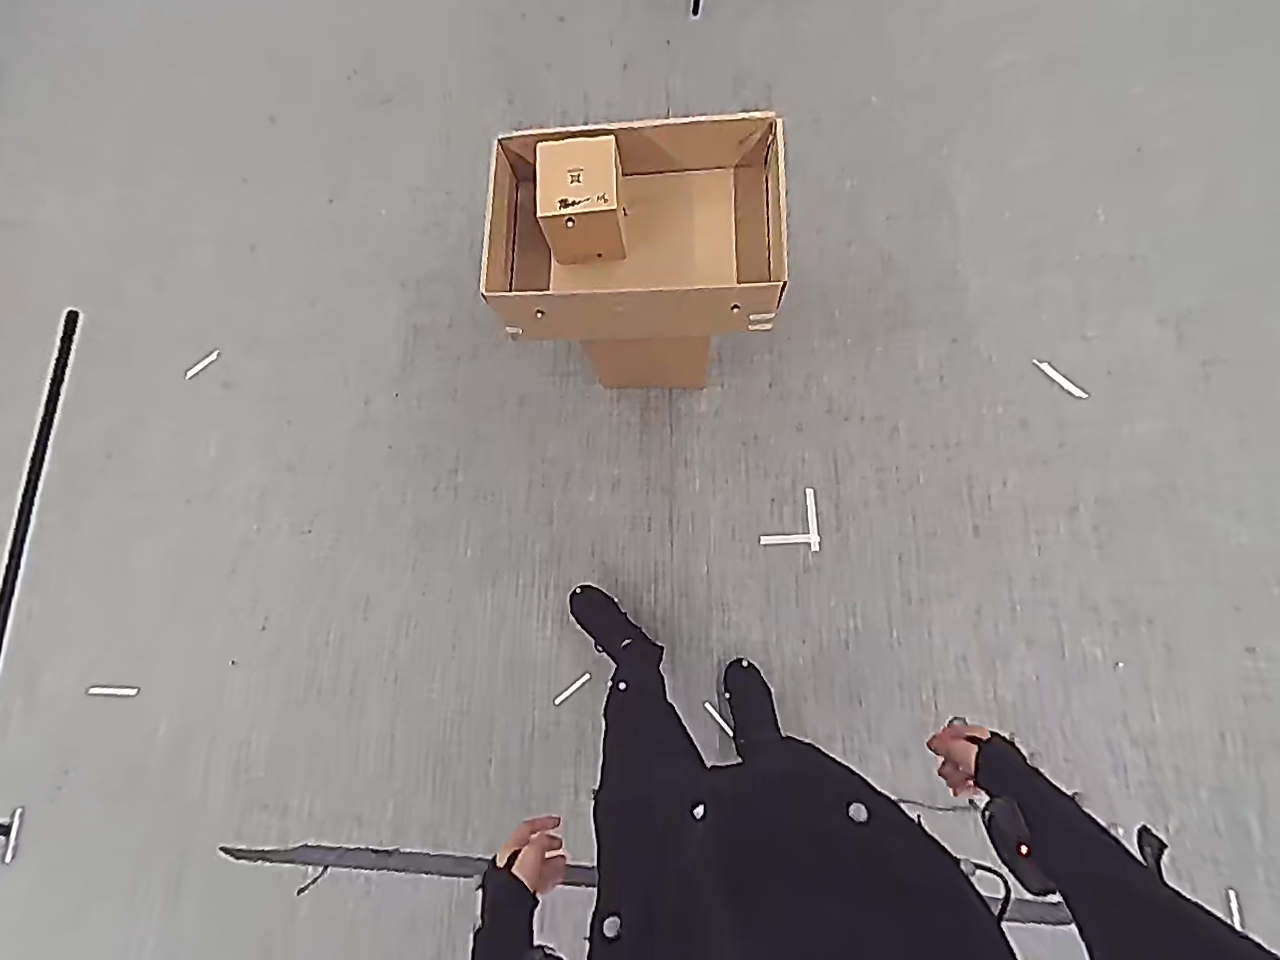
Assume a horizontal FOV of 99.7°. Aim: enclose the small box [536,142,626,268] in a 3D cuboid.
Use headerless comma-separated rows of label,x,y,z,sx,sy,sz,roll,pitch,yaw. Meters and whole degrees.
small box,-0.122,-0.590,1.176,0.168,0.176,0.179,-3,78,5
